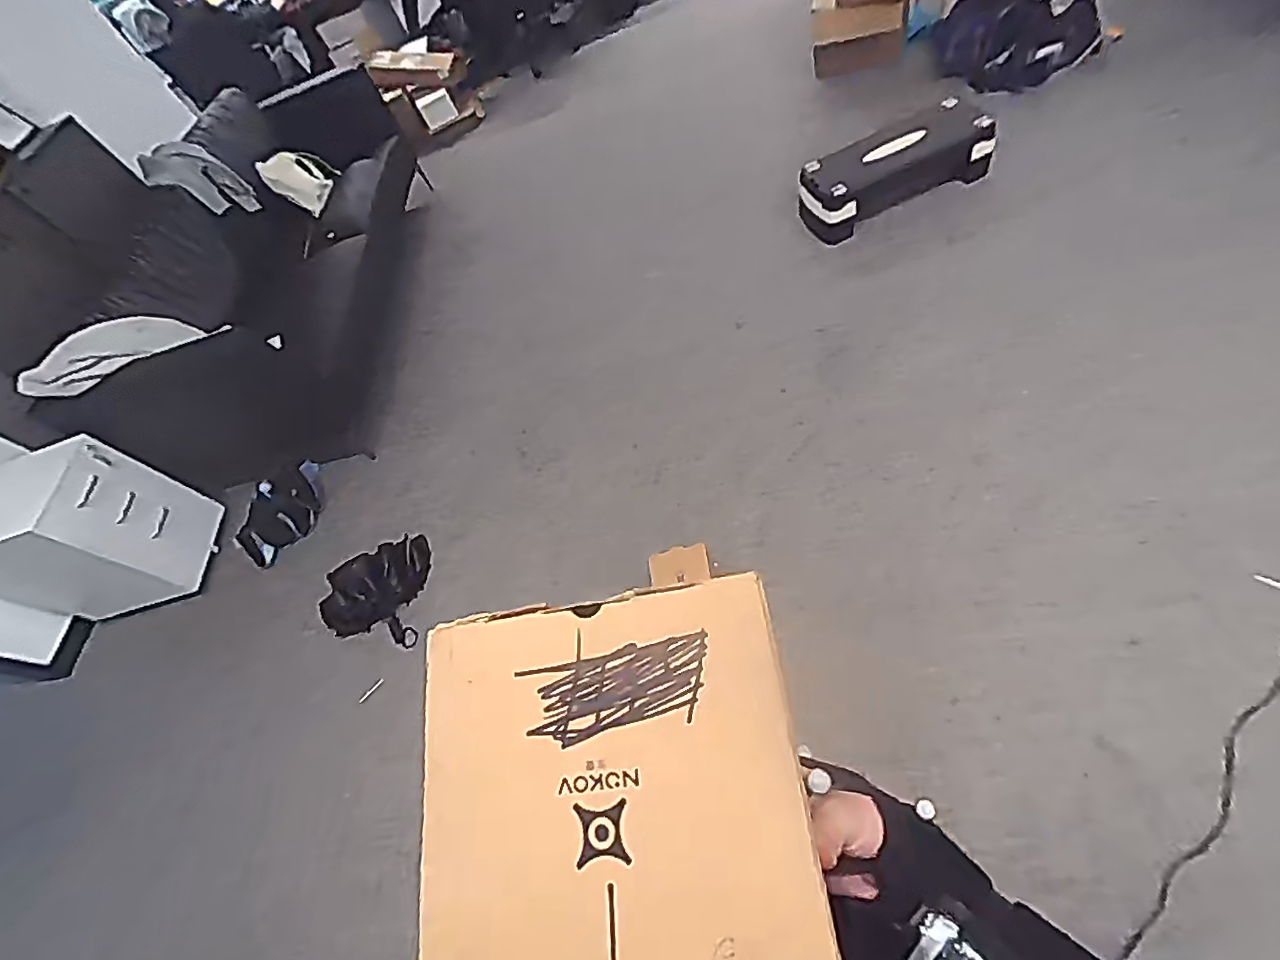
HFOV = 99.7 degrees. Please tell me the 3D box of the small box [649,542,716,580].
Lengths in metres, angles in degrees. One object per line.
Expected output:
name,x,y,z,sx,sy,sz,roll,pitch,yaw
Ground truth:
small box,0.135,0.303,1.530,0.168,0.176,0.179,-16,57,12
